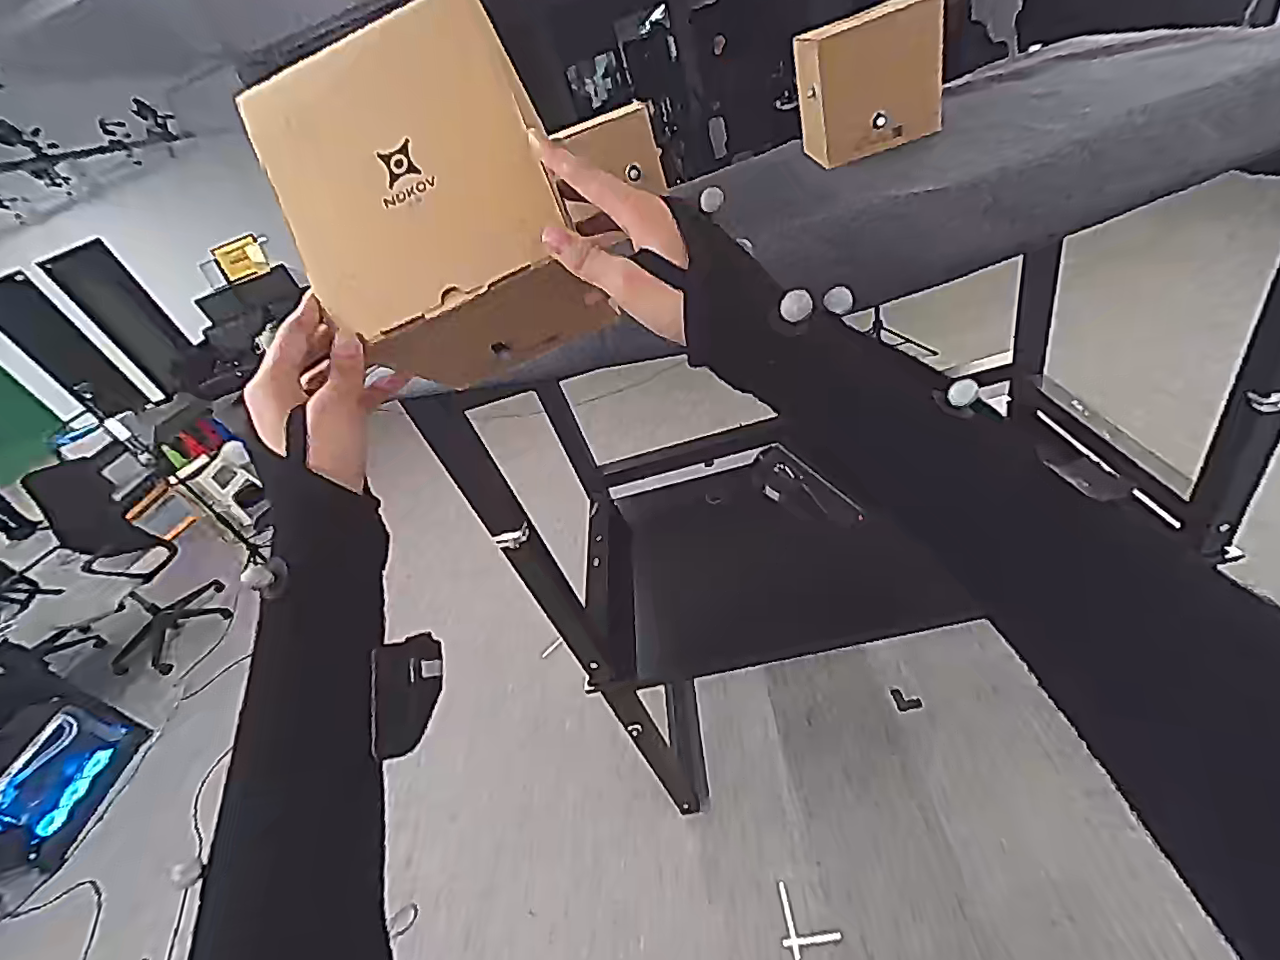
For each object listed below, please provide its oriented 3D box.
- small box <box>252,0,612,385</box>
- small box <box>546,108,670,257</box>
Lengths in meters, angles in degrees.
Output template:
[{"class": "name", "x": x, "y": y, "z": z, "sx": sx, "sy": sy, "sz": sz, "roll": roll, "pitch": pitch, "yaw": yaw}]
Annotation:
[{"class": "small box", "x": -0.133, "y": -0.189, "z": 0.414, "sx": 0.168, "sy": 0.179, "sz": 0.176, "roll": -22, "pitch": 1, "yaw": 6}, {"class": "small box", "x": -0.054, "y": -0.495, "z": 0.907, "sx": 0.179, "sy": 0.176, "sz": 0.168, "roll": -17, "pitch": 36, "yaw": 6}]
